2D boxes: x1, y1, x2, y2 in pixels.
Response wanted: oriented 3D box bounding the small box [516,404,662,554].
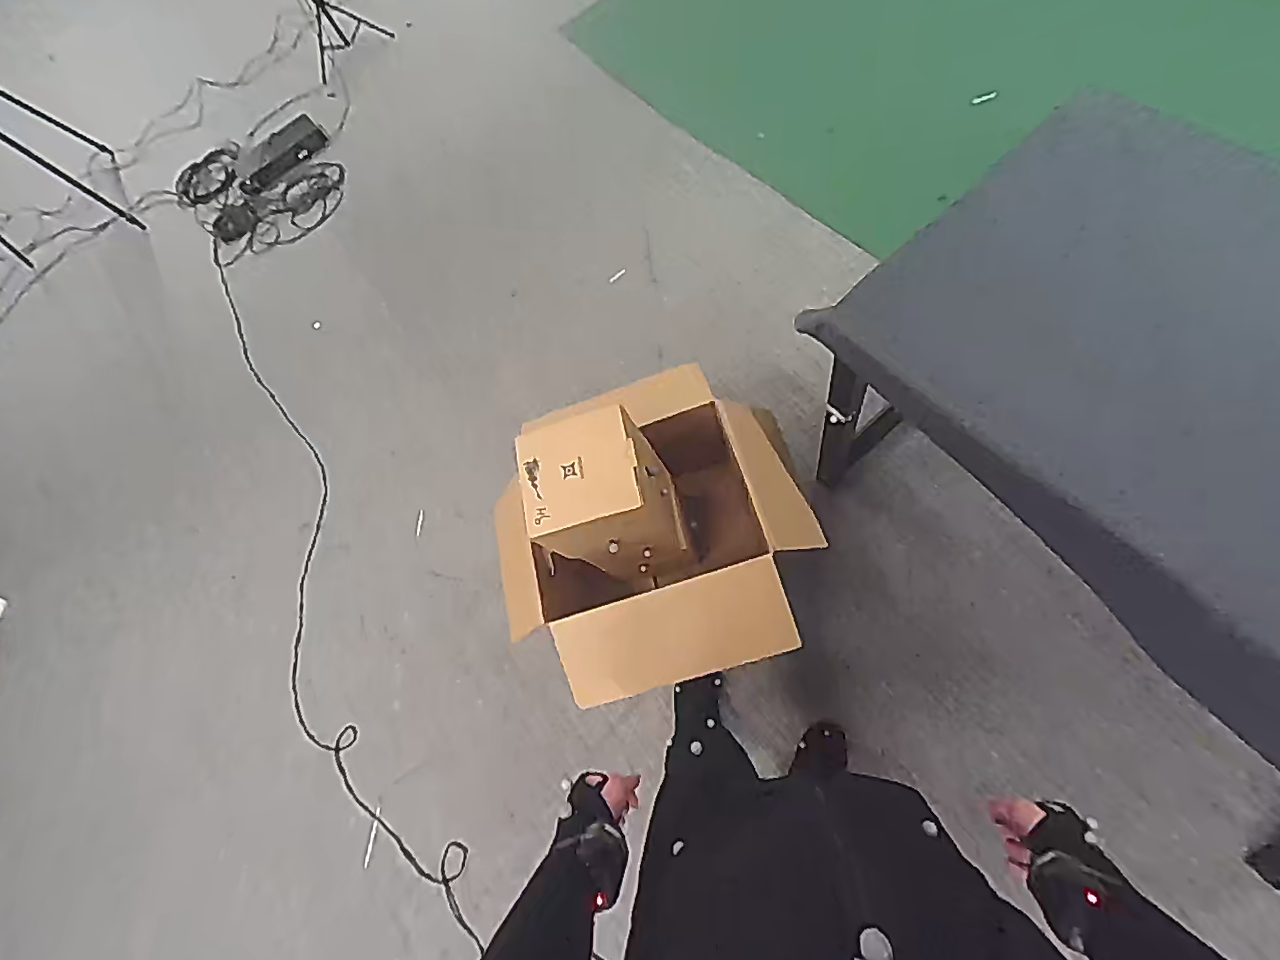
[{"bbox_3d":[-0.071,0.007,0.847,0.179,0.176,0.168,-16,68,10],"label":"small box"}]
